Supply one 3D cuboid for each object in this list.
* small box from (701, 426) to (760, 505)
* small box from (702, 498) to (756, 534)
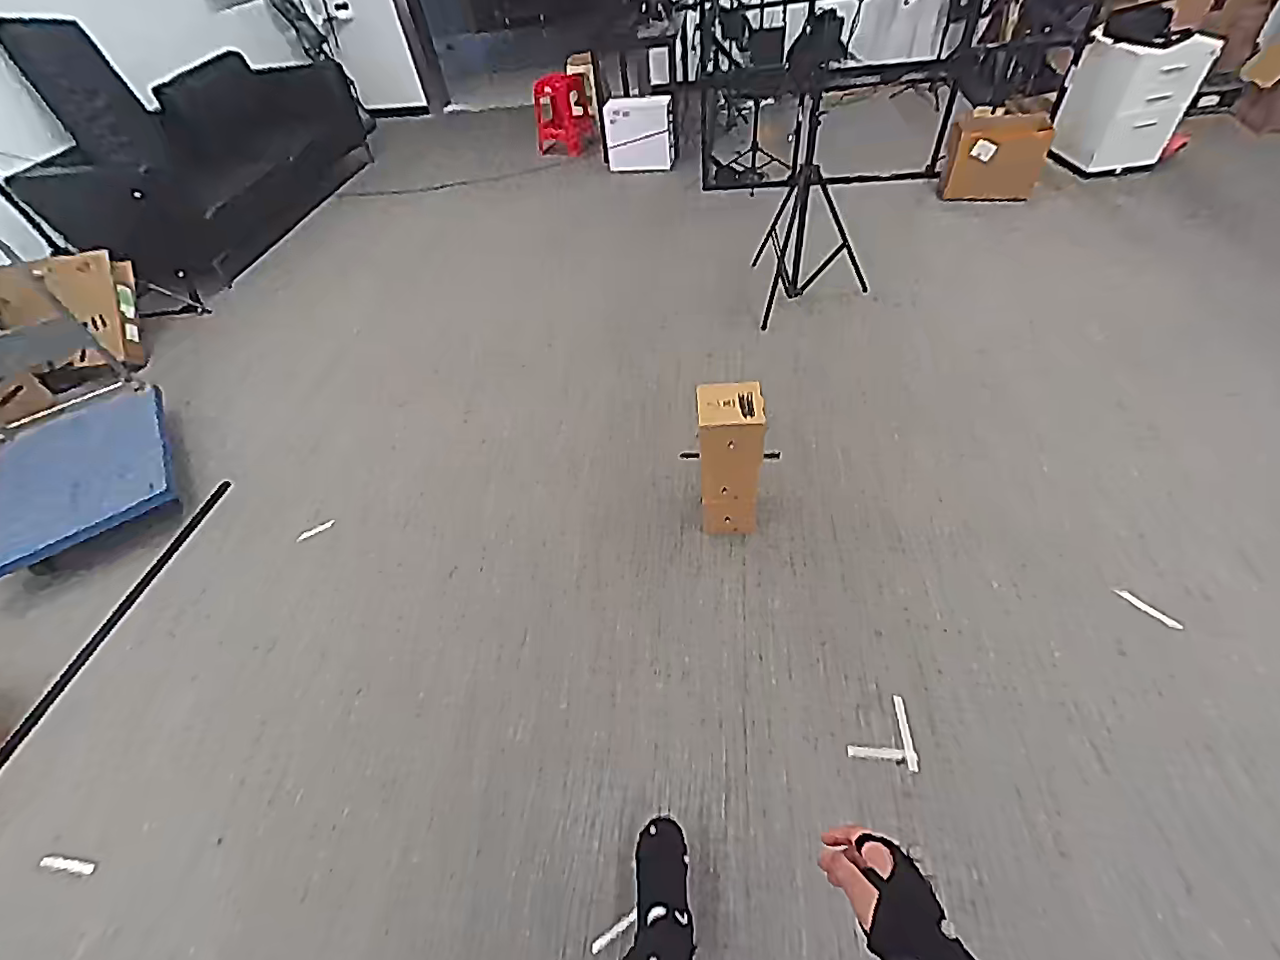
[{"bbox_3d":[0.269,-0.045,1.637,0.168,0.176,0.179,-1,49,7],"label":"small box"},{"bbox_3d":[0.286,0.064,1.758,0.168,0.176,0.179,-1,48,6],"label":"small box"}]
